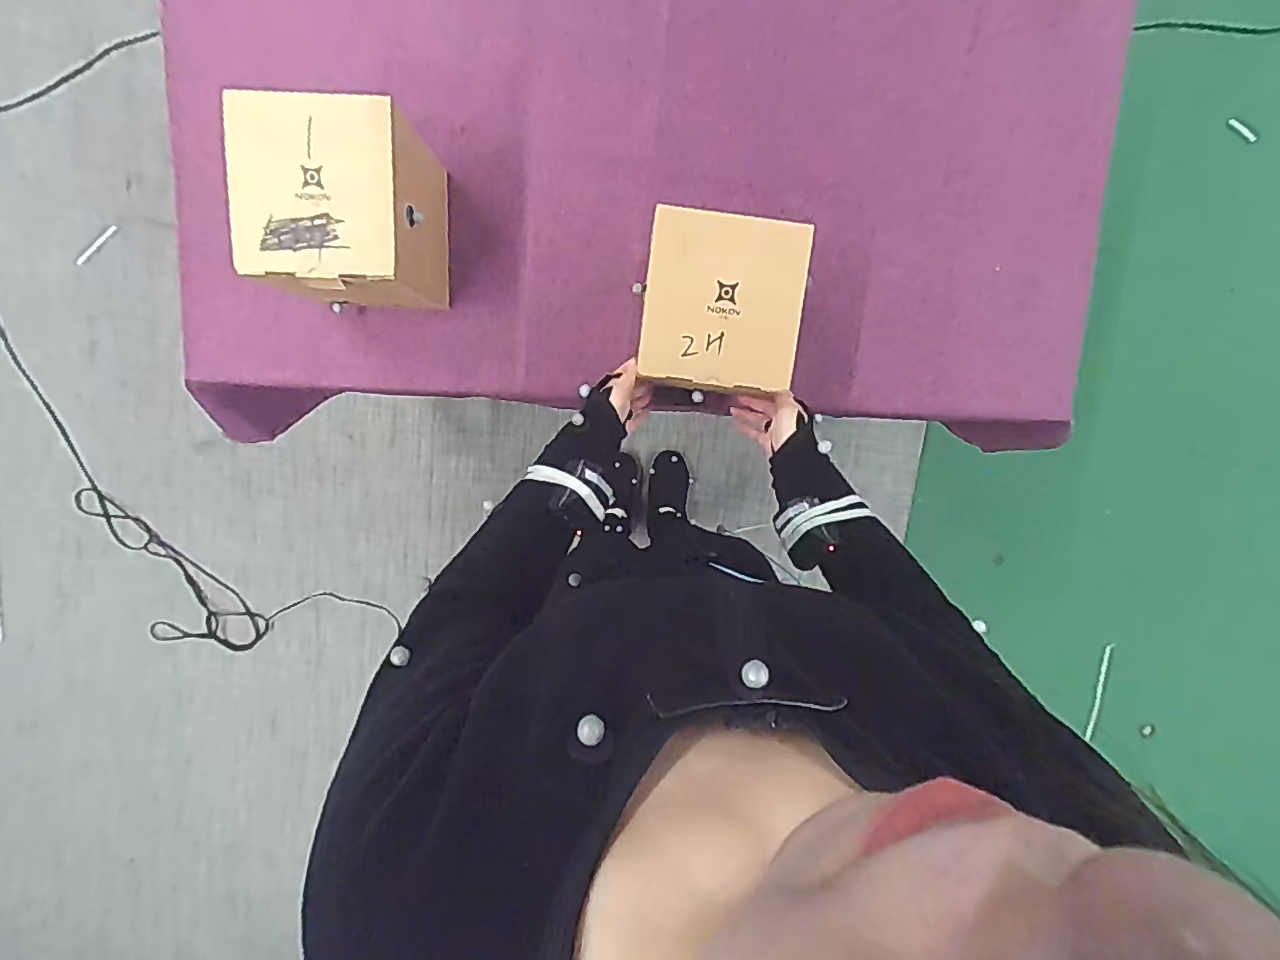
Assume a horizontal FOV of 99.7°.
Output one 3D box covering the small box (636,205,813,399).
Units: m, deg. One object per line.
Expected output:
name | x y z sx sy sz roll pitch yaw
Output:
small box | 0.086 -0.195 0.642 0.168 0.176 0.179 7 97 -1

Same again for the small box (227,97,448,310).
small box | -0.330 -0.300 0.625 0.168 0.176 0.179 2 96 -1
